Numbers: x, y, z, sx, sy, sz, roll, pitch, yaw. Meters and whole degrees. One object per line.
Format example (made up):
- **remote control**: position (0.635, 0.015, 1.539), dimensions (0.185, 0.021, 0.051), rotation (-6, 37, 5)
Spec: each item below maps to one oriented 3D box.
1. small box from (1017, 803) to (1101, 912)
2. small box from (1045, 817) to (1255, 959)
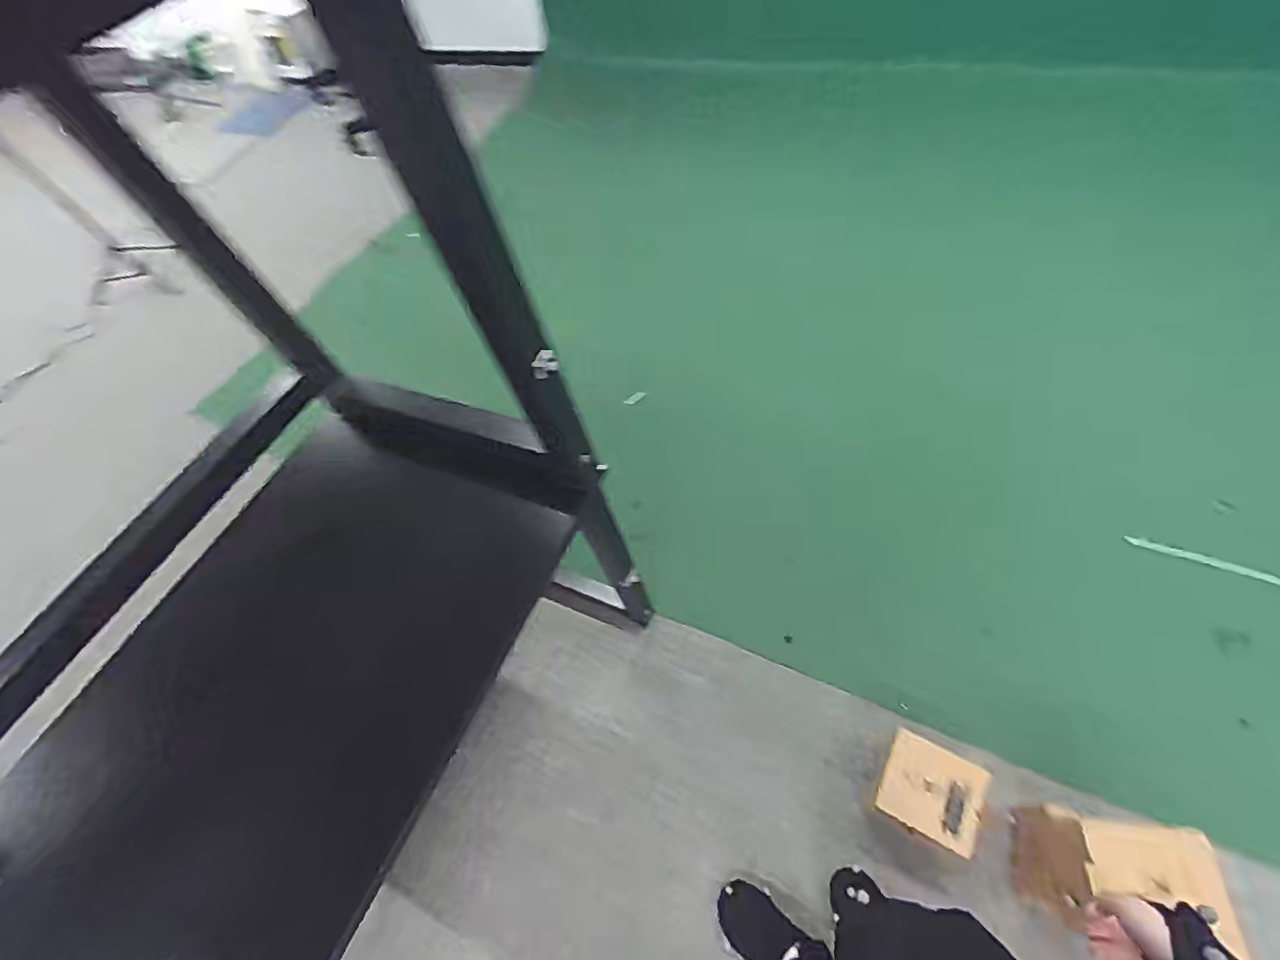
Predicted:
- **small box**: position (0.838, 0.731, 1.017), dimensions (0.179, 0.176, 0.168), rotation (11, 62, 16)
- **small box**: position (0.800, 0.653, 0.879), dimensions (0.179, 0.176, 0.168), rotation (0, 61, 10)
